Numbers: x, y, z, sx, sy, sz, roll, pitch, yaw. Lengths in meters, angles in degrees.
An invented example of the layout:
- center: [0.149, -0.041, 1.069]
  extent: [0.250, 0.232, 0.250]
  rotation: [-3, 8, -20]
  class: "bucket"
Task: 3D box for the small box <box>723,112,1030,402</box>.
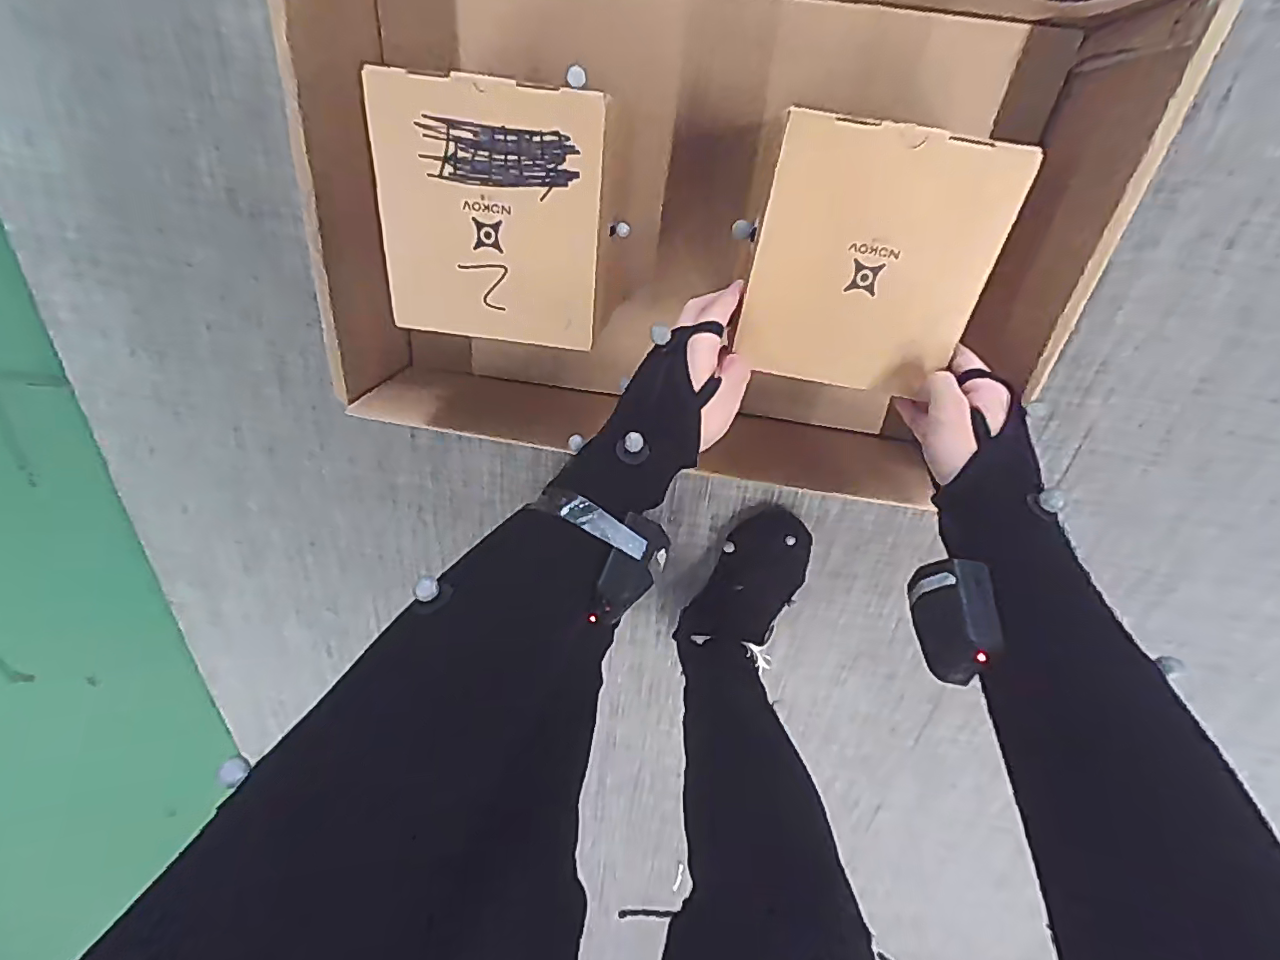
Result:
- center: [0.171, -0.190, 0.460]
  extent: [0.168, 0.176, 0.179]
  rotation: [11, 120, 2]
  class: "small box"
